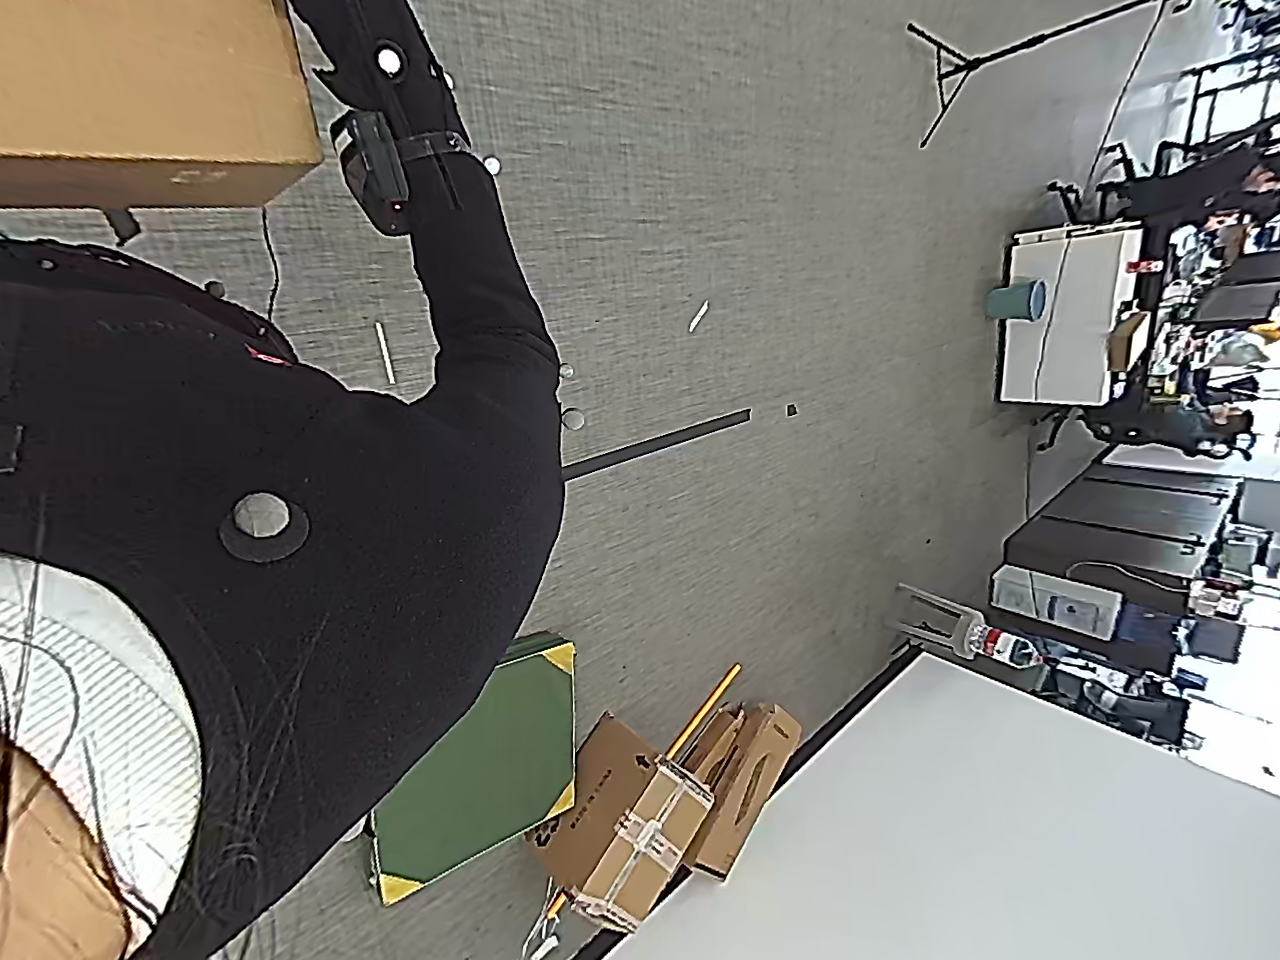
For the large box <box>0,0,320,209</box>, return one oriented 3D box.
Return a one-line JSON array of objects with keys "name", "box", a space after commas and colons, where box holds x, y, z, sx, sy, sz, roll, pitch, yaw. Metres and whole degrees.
[{"name": "large box", "box": [-0.485, -0.342, 0.317, 0.408, 0.320, 0.320, -23, 121, -35]}]
